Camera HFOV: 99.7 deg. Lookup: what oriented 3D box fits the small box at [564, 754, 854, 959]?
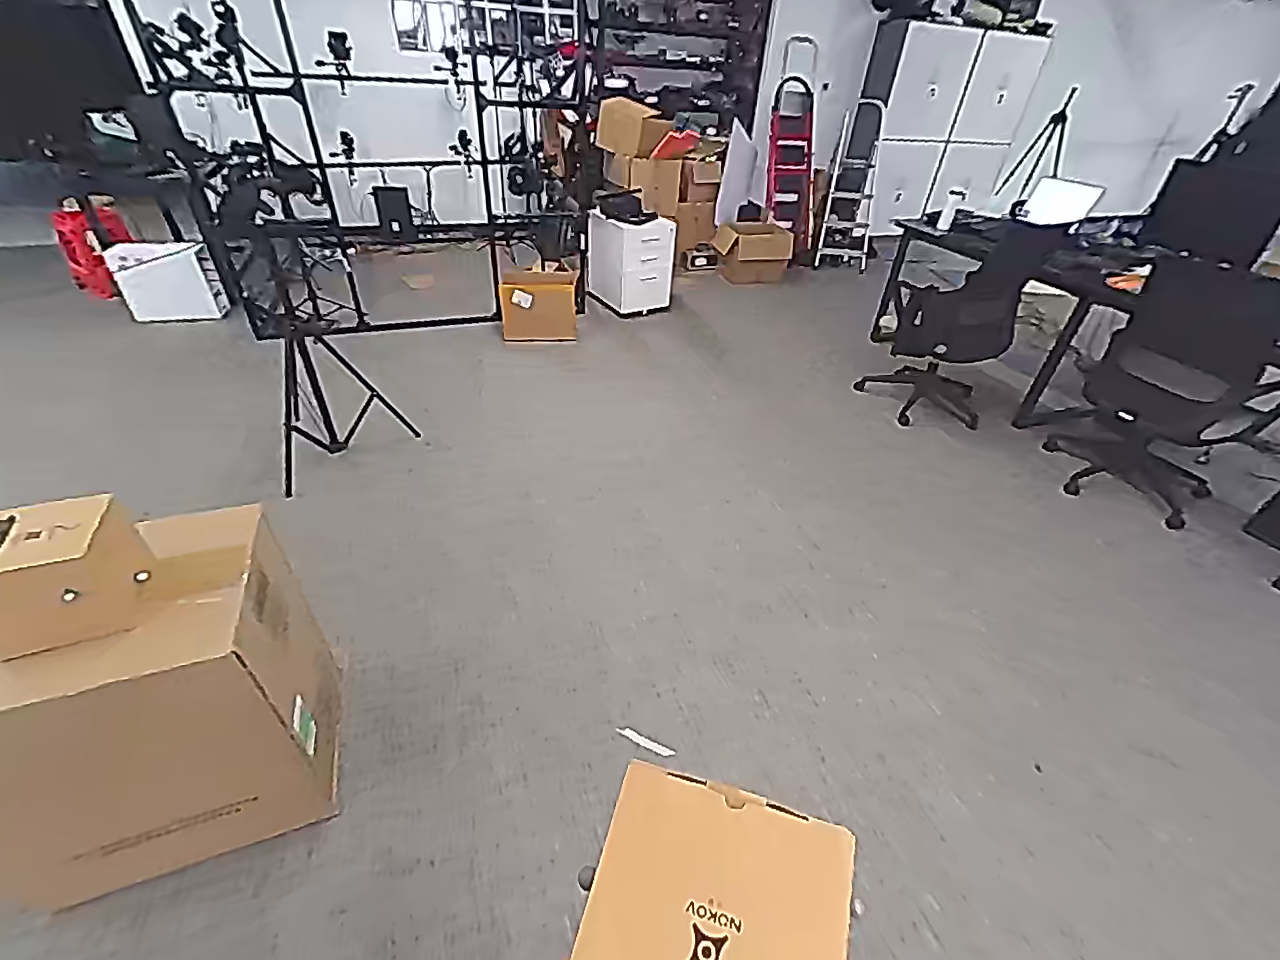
[{"bbox_3d":[0.049,0.334,0.394,0.168,0.176,0.179,10,52,15],"label":"small box"}]
